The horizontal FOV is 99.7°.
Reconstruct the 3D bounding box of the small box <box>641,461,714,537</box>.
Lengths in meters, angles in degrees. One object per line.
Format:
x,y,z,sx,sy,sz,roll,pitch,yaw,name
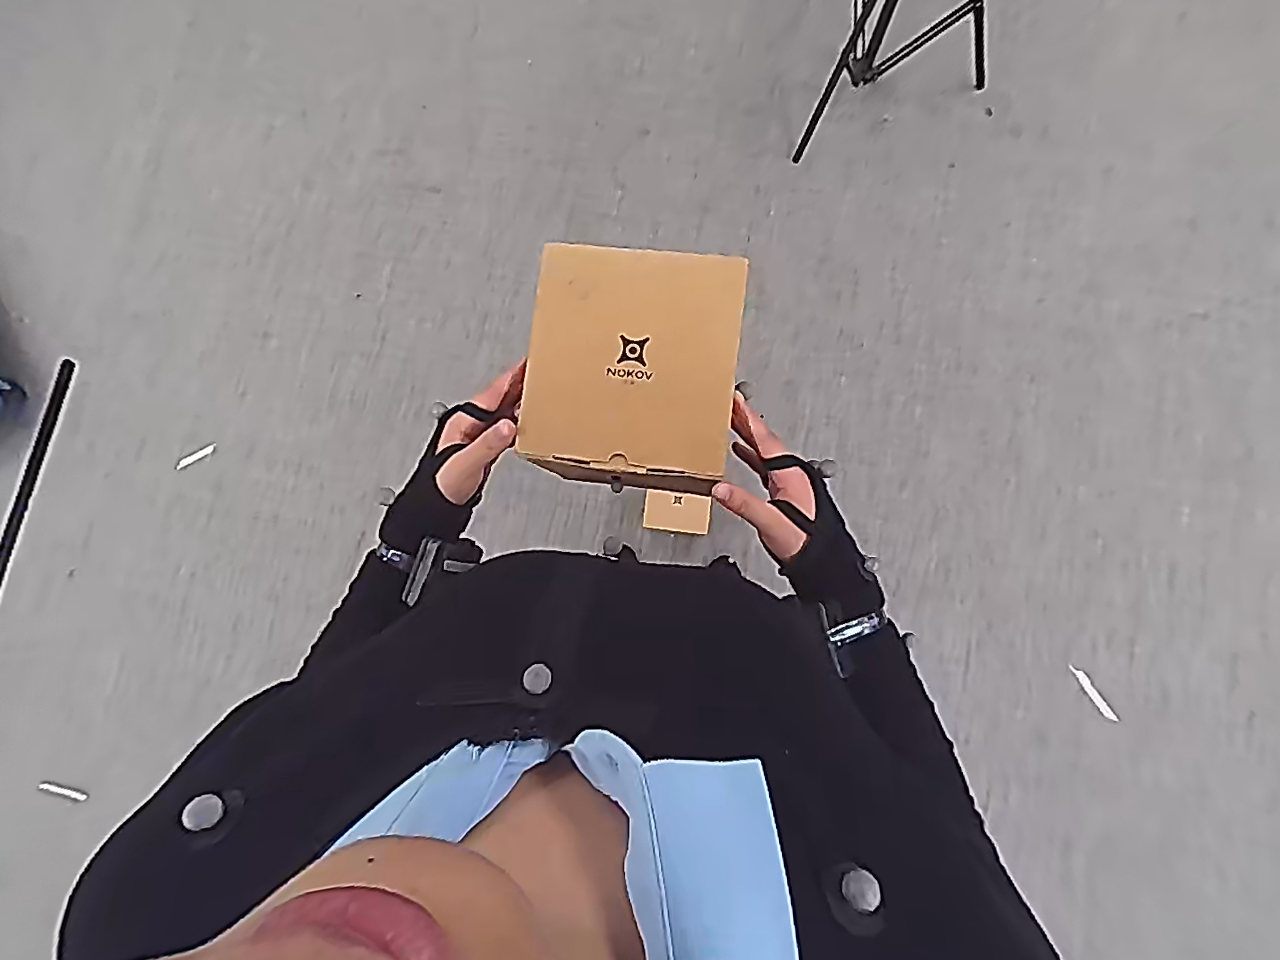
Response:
0.100,0.056,1.436,0.168,0.176,0.179,7,83,5,small box
